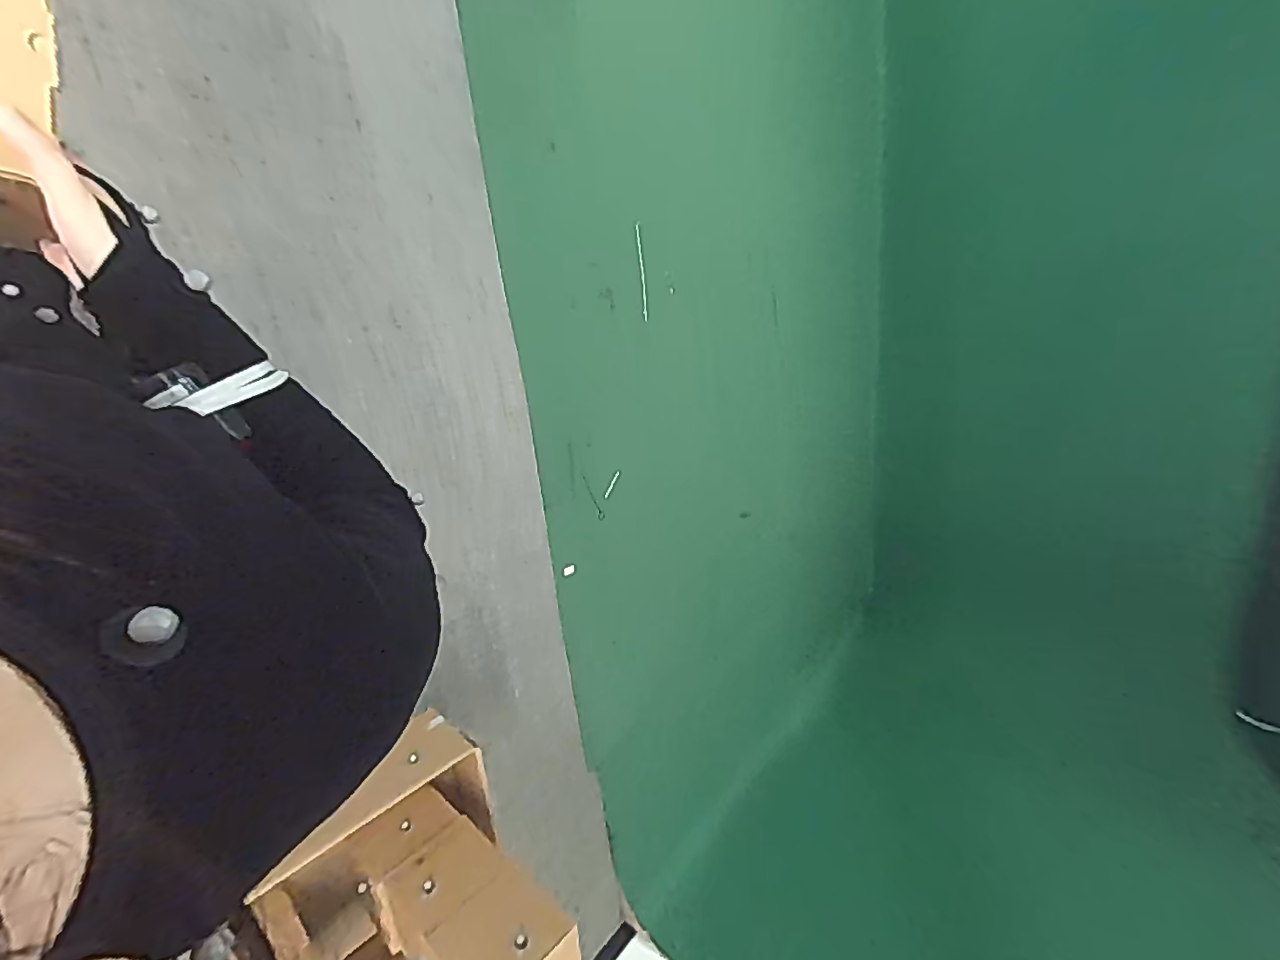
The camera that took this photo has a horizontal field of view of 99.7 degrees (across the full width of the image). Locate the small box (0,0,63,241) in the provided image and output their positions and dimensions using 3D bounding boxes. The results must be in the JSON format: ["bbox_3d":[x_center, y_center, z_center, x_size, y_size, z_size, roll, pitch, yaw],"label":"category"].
[{"bbox_3d":[-0.479,-0.265,0.323,0.179,0.176,0.168,-4,94,-46],"label":"small box"}]

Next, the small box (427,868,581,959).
[{"bbox_3d":[-0.211,0.777,0.858,0.179,0.176,0.168,-16,108,-43],"label":"small box"}]

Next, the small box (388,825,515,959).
[{"bbox_3d":[-0.330,0.765,0.972,0.168,0.176,0.179,-19,111,-43],"label":"small box"}]
